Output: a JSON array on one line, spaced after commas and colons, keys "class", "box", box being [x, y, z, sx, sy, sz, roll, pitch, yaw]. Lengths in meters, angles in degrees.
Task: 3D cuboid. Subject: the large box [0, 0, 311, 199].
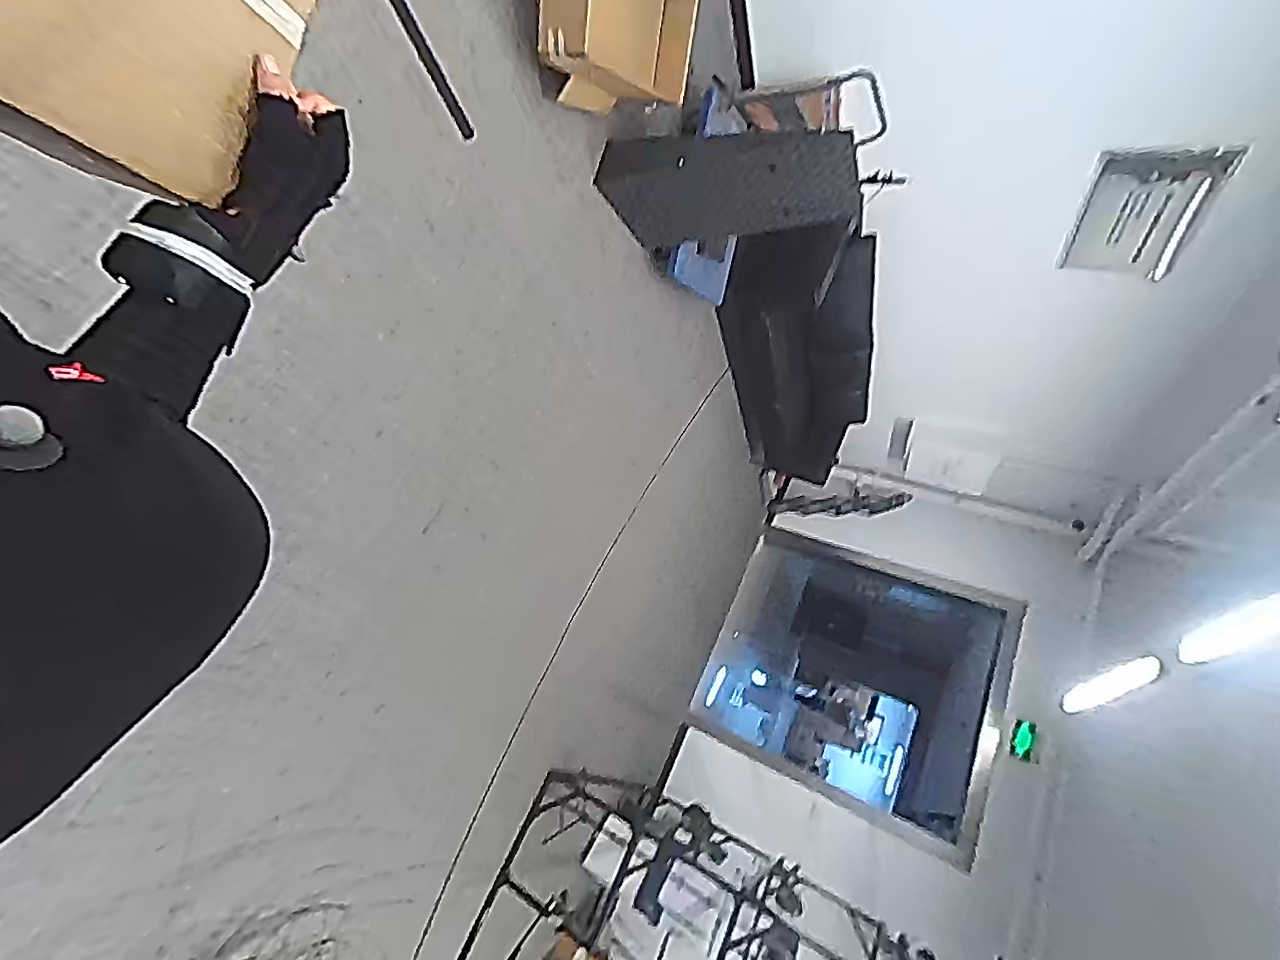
[{"class": "large box", "box": [-0.481, -0.449, 0.322, 0.320, 0.320, 0.408, -65, 154, 2]}]
